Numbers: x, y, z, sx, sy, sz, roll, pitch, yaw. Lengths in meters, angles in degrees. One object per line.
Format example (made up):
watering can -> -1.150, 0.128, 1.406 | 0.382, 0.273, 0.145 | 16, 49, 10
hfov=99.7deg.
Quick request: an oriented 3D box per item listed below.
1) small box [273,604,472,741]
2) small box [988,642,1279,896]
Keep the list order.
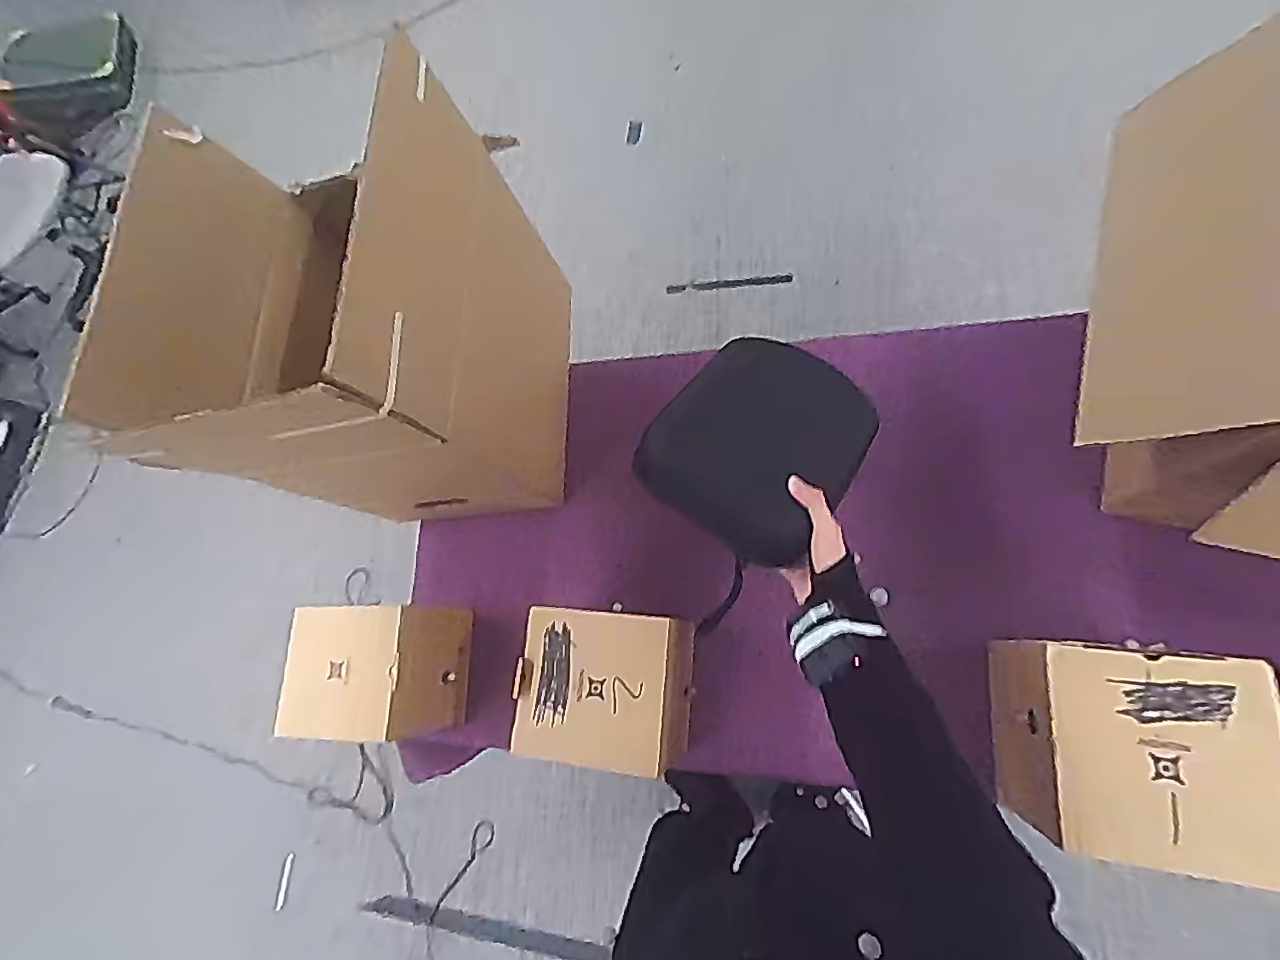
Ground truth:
small box -> -0.369, 0.268, 0.773 | 0.179, 0.176, 0.168 | -4, 73, 14
small box -> 0.462, 0.258, 0.531 | 0.168, 0.176, 0.179 | 1, 75, 17
